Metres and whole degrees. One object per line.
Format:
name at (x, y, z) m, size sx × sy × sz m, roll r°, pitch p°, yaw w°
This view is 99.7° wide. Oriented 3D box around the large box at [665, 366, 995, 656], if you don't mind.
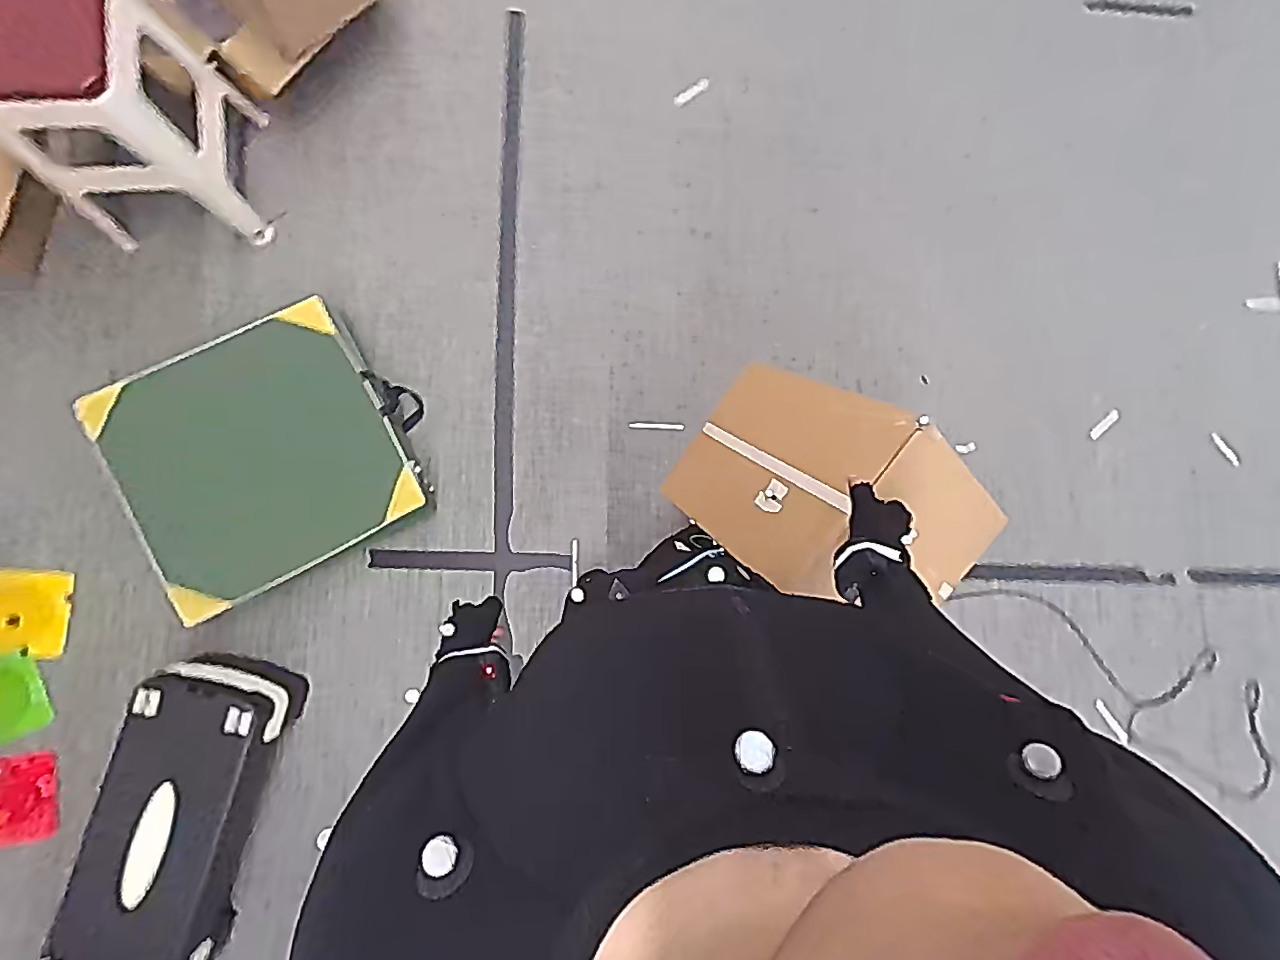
large box at (0.321, 0.039, 0.985) m, size 0.320 × 0.408 × 0.320 m, roll 34°, pitch 95°, yaw -33°
